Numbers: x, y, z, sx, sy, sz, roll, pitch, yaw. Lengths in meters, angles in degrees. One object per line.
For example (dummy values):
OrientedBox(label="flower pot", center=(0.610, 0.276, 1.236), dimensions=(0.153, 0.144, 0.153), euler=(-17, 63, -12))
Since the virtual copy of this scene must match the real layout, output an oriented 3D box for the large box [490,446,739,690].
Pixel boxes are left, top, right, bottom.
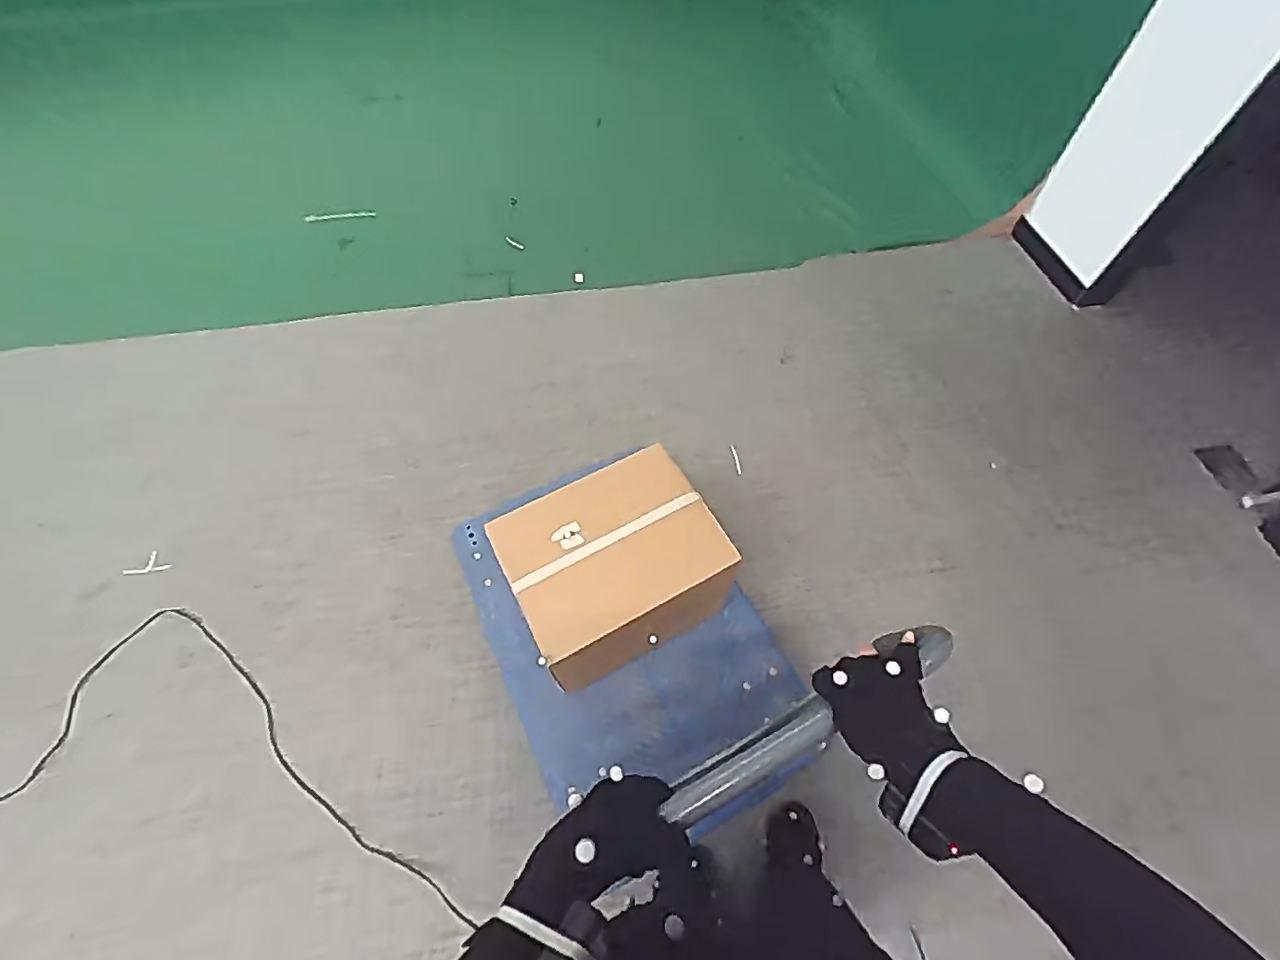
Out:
OrientedBox(label="large box", center=(-0.051, 0.197, 1.180), dimensions=(0.408, 0.320, 0.320), euler=(-27, 62, -14))
